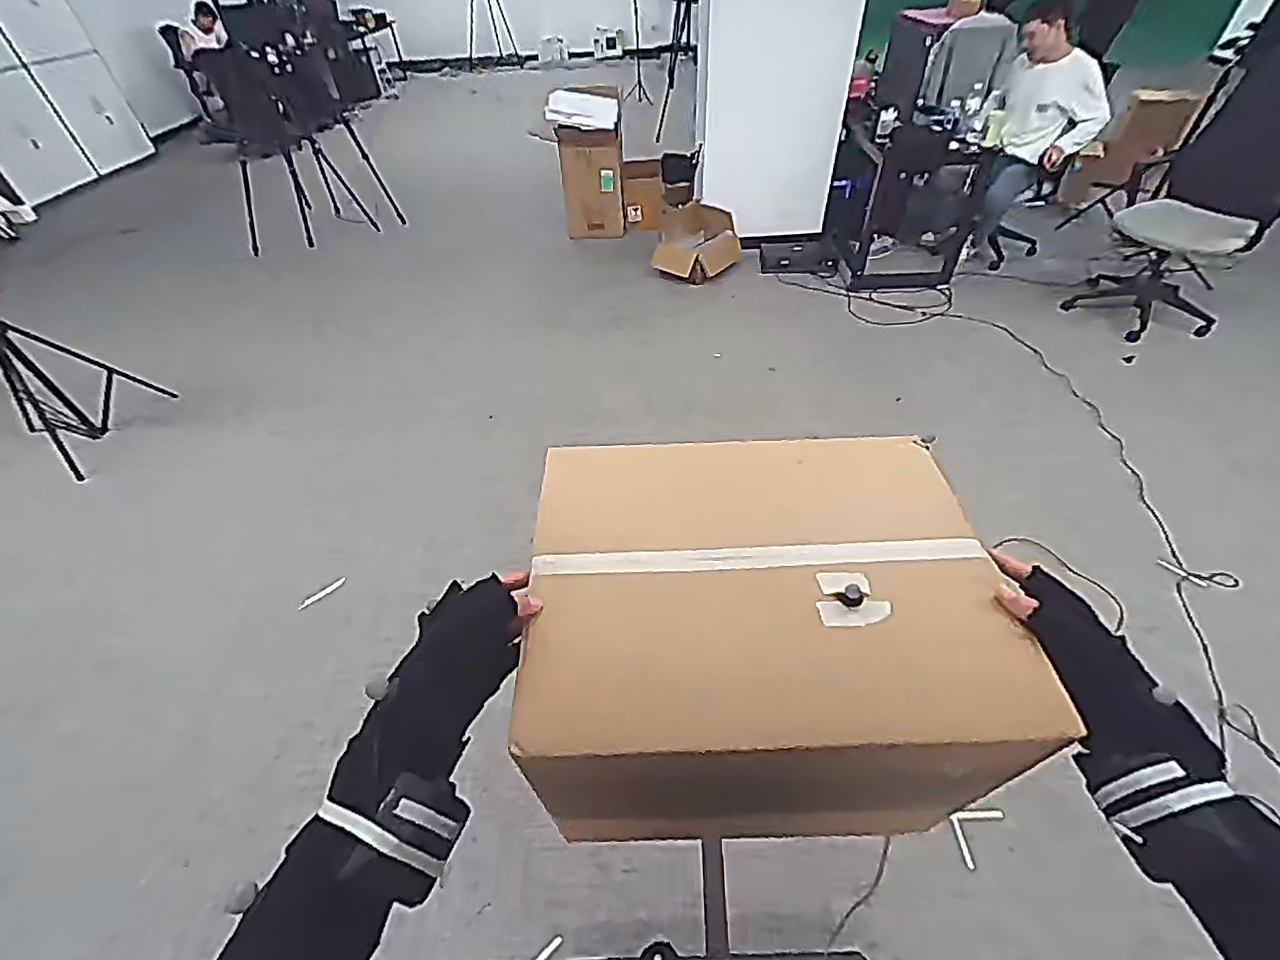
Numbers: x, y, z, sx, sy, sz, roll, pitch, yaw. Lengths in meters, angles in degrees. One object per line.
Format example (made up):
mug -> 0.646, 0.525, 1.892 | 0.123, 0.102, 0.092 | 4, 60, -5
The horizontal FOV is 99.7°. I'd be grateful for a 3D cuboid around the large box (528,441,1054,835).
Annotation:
large box -> 0.108, 0.178, 0.607 | 0.408, 0.320, 0.320 | -2, 47, -1
